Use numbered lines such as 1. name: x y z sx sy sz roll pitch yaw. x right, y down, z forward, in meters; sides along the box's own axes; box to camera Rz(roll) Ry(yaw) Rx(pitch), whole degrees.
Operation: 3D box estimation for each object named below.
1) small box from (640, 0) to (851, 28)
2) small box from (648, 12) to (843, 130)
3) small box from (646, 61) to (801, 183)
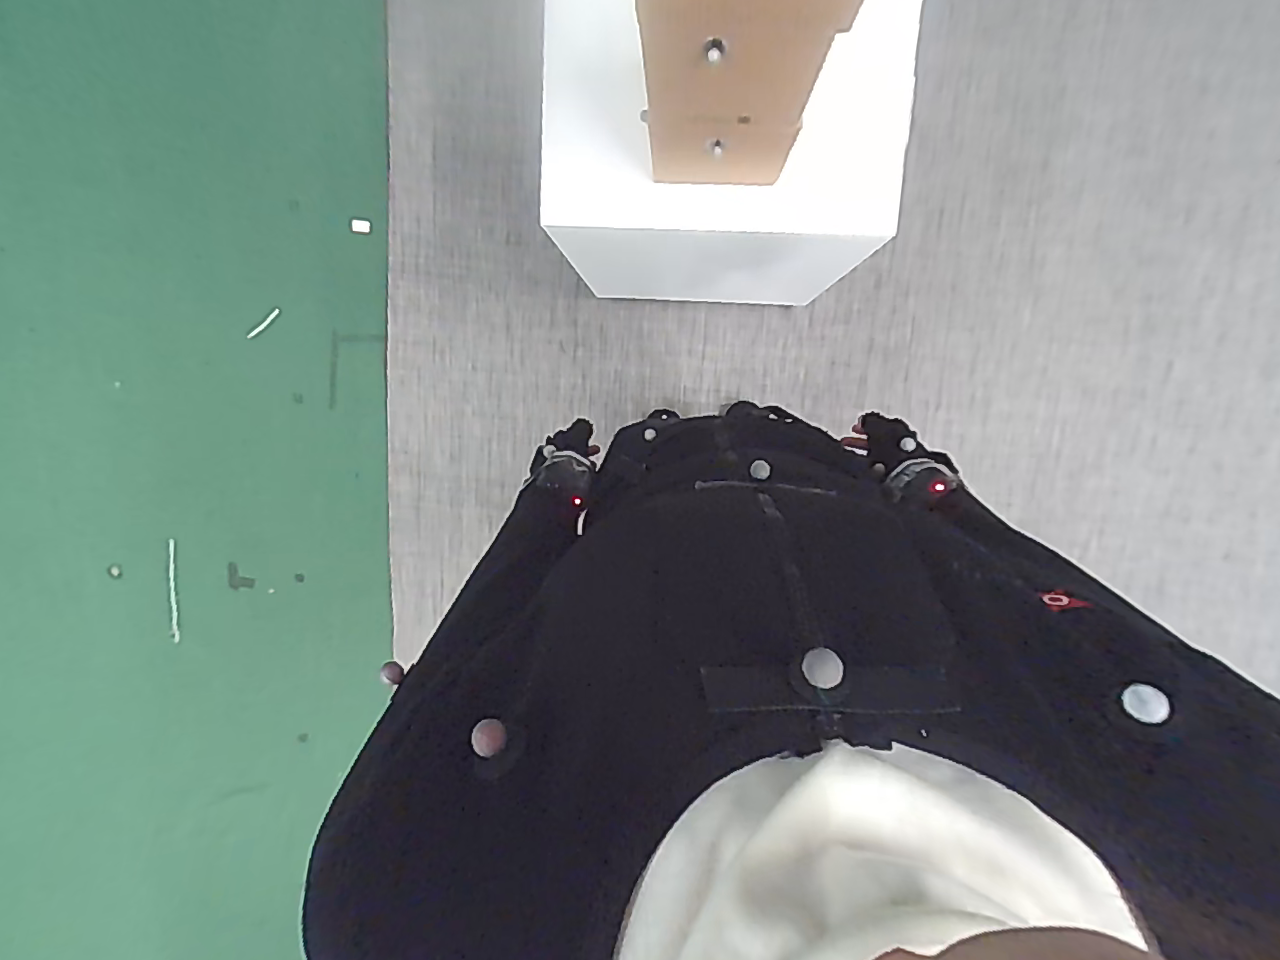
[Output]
1. small box: 0.084 -0.443 0.356 0.179 0.176 0.168 6 99 3
2. small box: 0.094 -0.473 0.520 0.168 0.176 0.179 2 99 3
3. small box: 0.103 -0.493 0.679 0.179 0.176 0.168 3 99 3
